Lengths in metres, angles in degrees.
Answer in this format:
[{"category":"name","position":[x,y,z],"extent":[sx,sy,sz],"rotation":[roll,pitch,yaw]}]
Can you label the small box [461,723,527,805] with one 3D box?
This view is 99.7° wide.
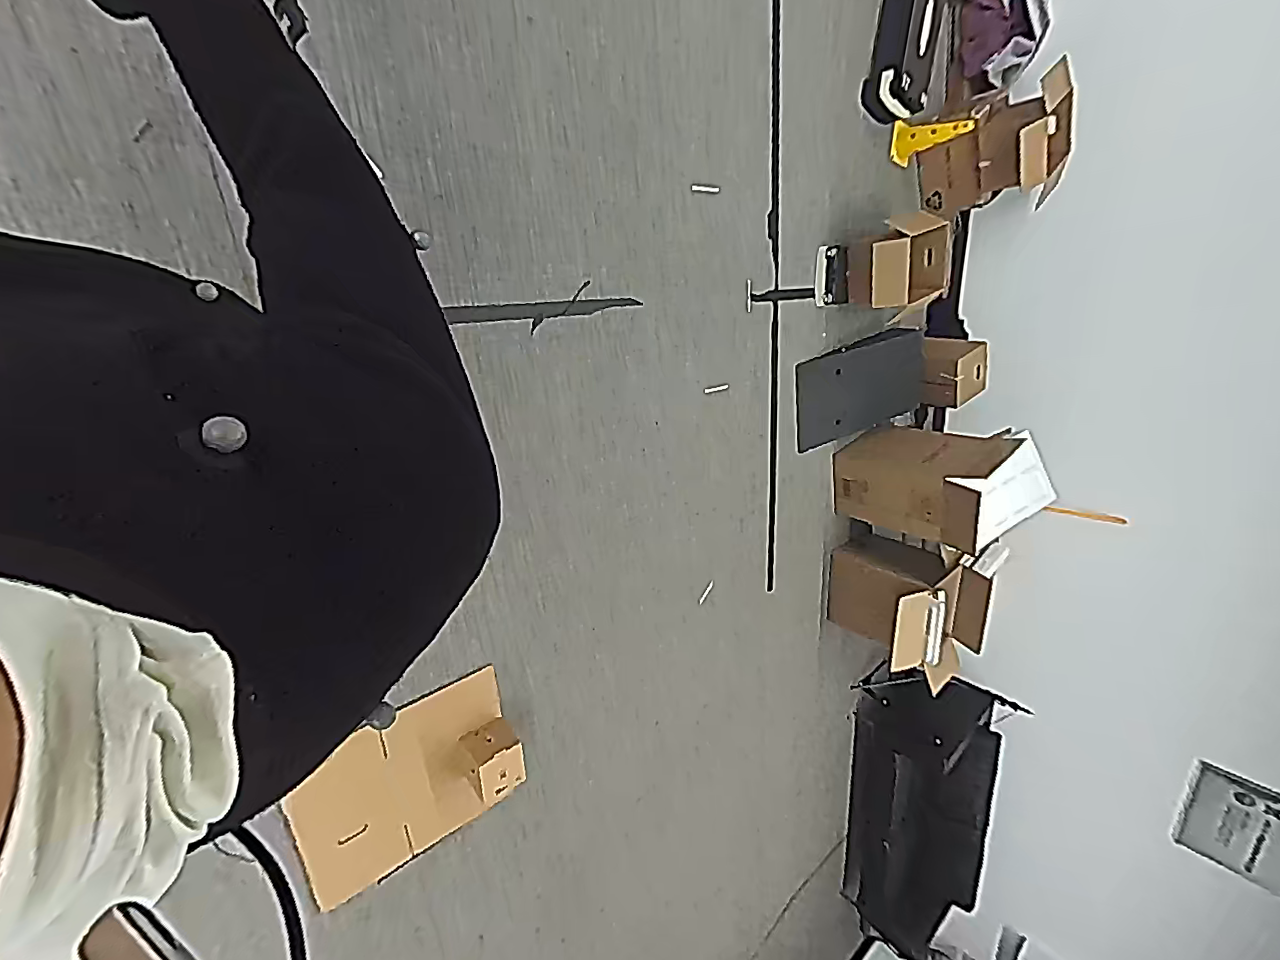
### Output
[{"category":"small box","position":[-0.528,1.008,1.945],"extent":[0.168,0.176,0.179],"rotation":[-16,112,-38]}]
